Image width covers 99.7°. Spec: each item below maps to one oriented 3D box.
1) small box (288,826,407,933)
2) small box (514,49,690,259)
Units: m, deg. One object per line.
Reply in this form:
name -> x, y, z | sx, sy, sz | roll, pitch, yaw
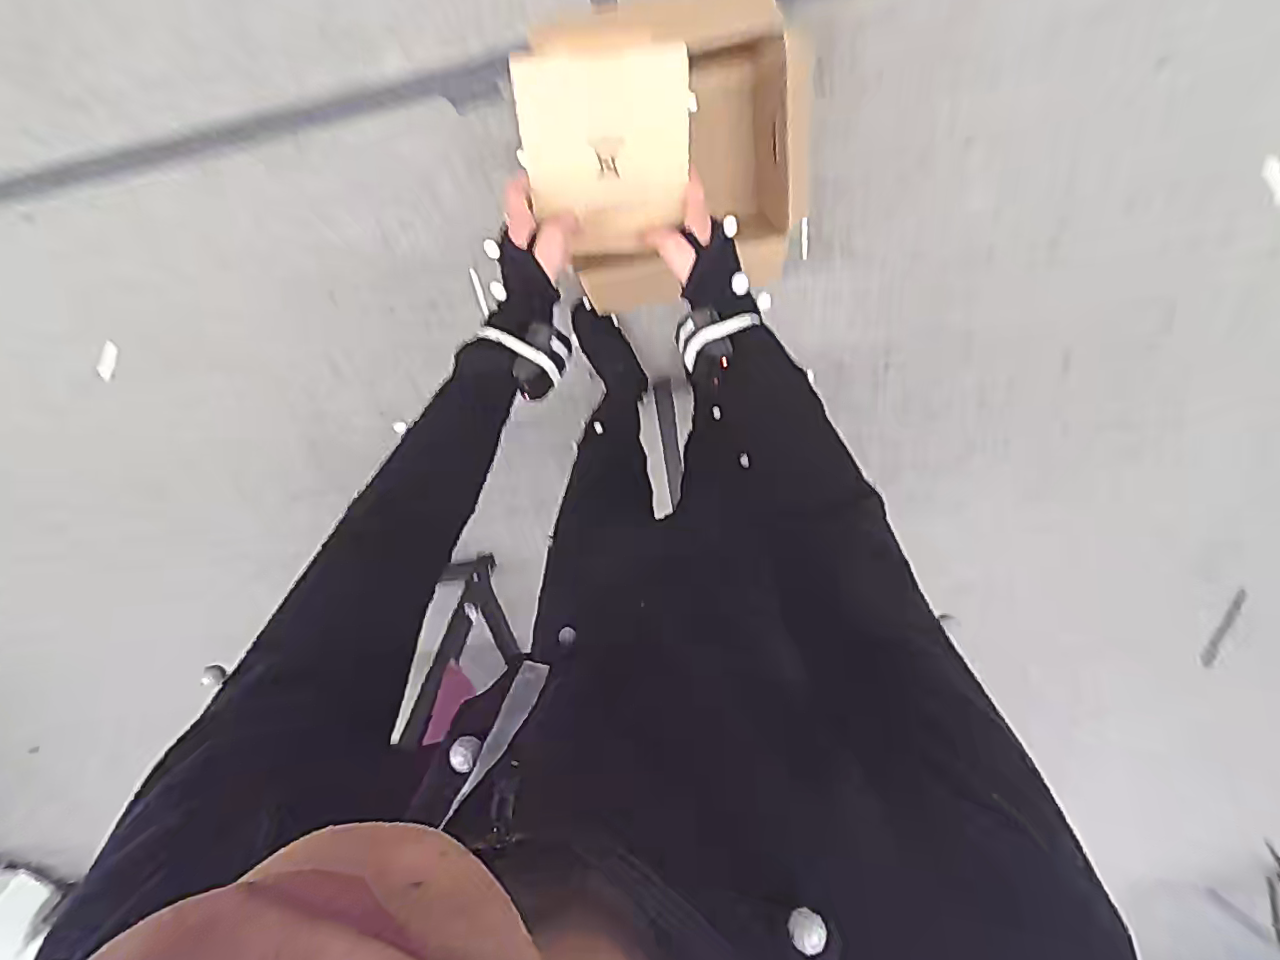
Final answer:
small box -> -0.704, 0.980, 1.334 | 0.179, 0.176, 0.168 | -13, 121, 10
small box -> -0.035, -0.358, 0.604 | 0.168, 0.176, 0.179 | -3, 124, 0
